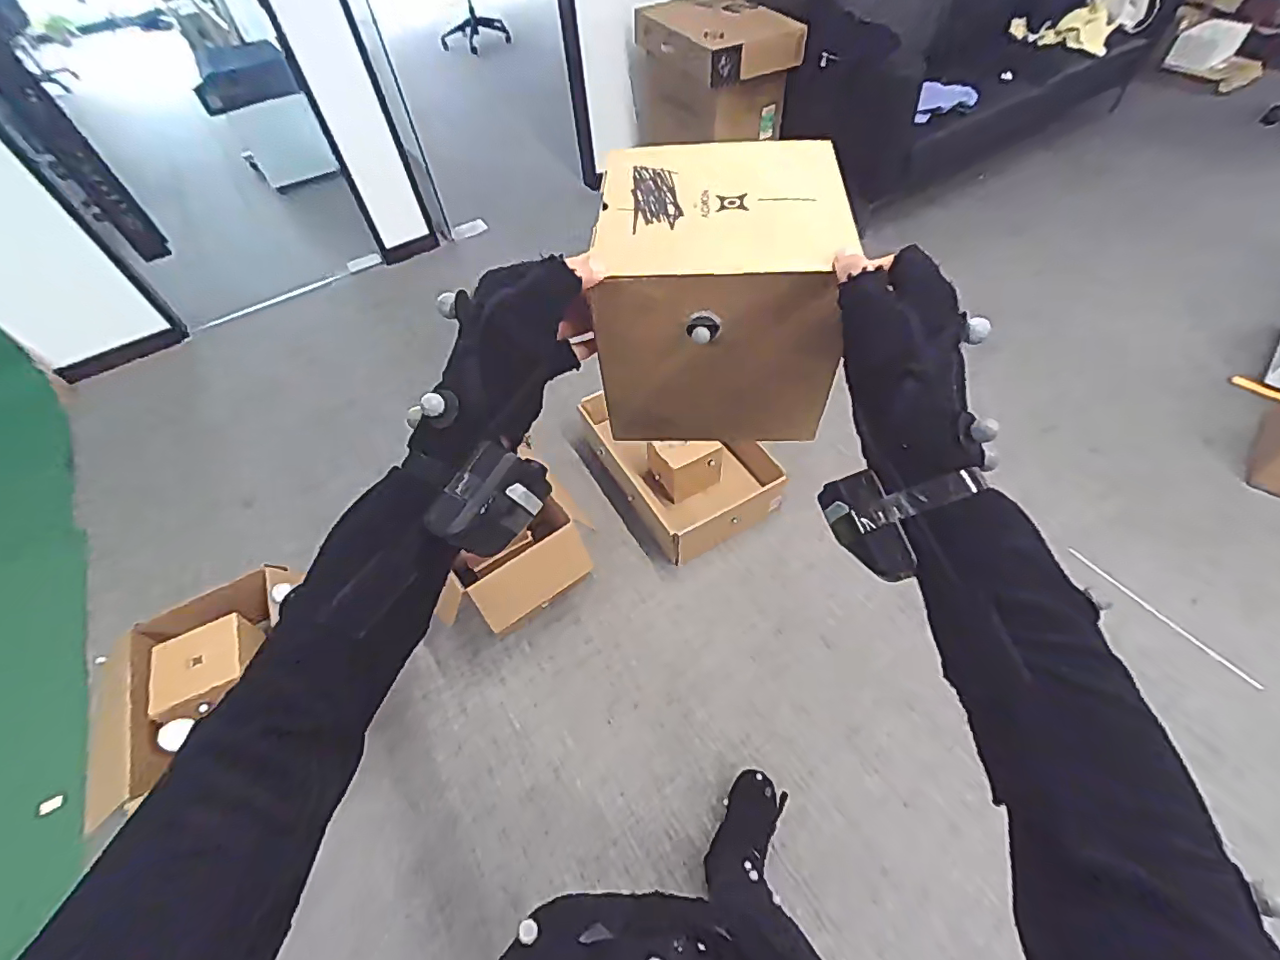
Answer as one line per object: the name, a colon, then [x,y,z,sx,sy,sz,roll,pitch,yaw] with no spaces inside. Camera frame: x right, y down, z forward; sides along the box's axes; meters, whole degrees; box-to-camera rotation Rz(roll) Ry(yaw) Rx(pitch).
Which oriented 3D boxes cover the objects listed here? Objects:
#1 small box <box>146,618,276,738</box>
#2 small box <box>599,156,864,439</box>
small box: [-0.949,0.446,1.211,0.179,0.176,0.168,-24,54,-16]
small box: [0.068,-0.148,0.462,0.179,0.176,0.168,1,55,4]
